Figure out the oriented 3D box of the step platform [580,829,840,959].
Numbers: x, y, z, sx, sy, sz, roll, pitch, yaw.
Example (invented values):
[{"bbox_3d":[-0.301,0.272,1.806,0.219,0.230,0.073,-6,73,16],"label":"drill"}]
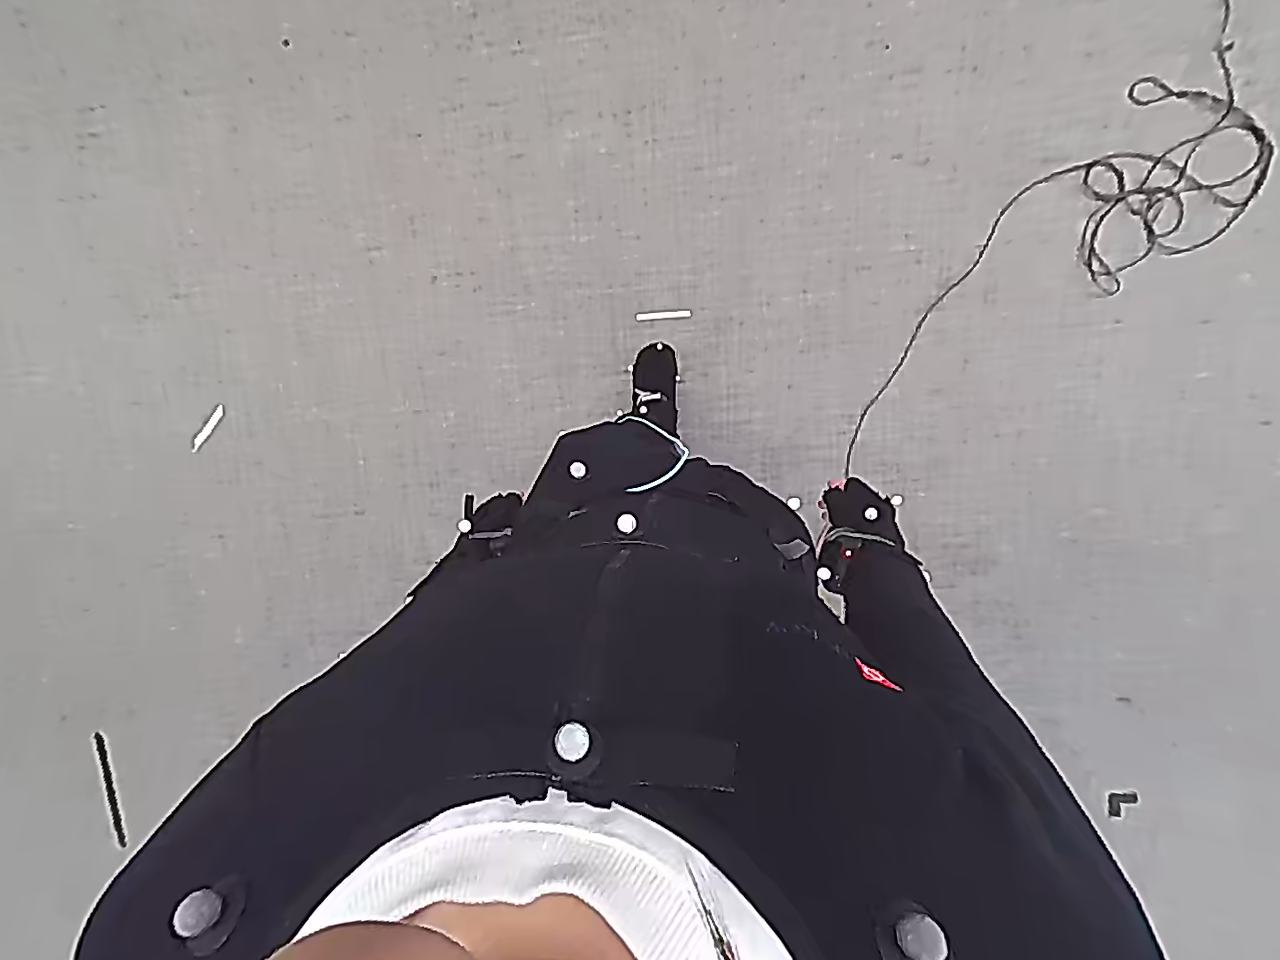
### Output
[{"bbox_3d":[0.180,1.149,1.467,0.684,0.204,0.286,-4,96,7],"label":"step platform"}]
